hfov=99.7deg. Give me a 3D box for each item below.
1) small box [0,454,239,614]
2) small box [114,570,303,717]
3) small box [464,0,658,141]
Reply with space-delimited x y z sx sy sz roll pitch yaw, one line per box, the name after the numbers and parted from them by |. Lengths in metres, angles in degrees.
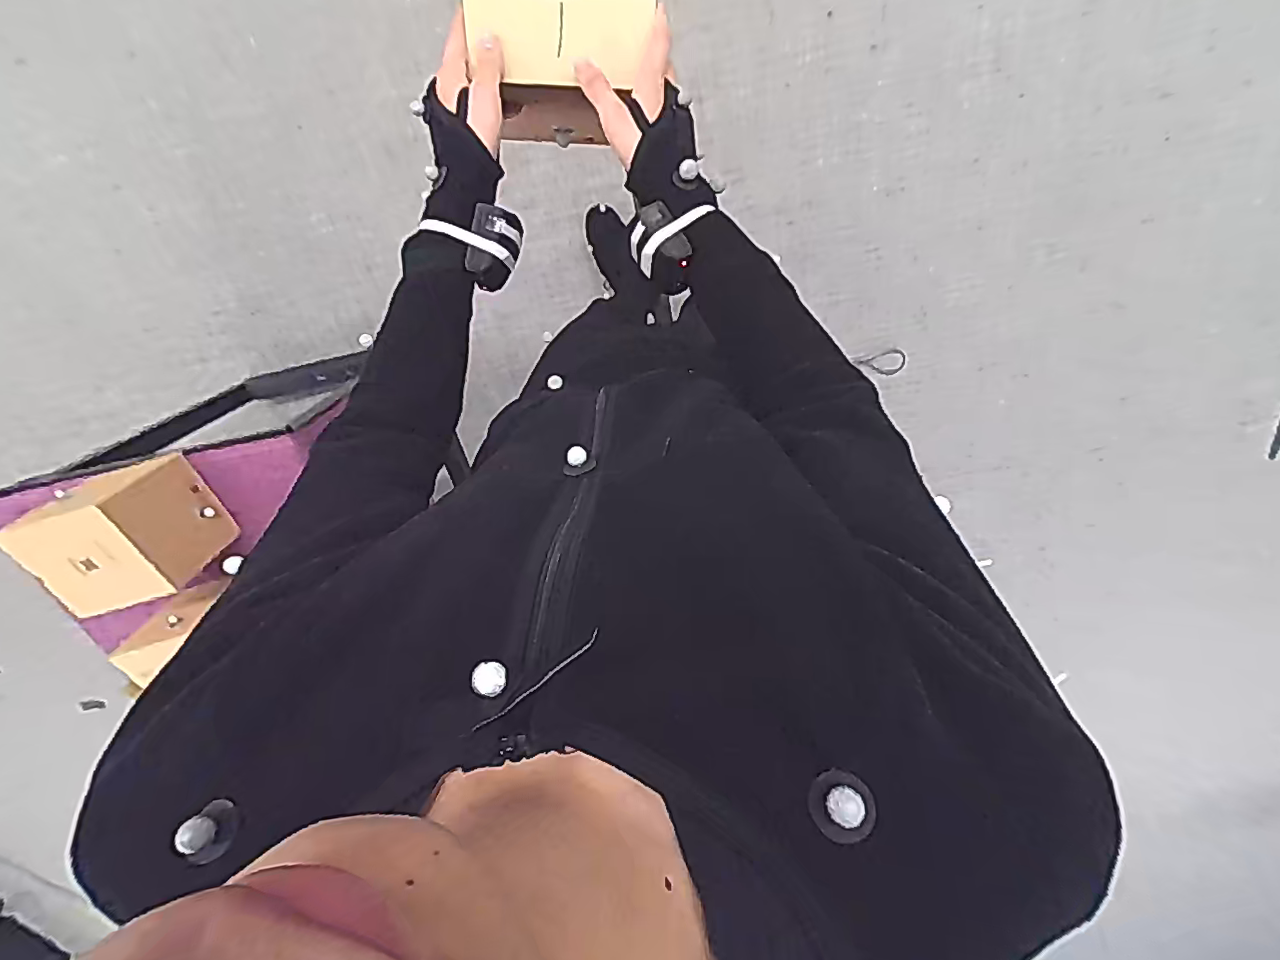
-0.801 0.080 0.856 0.179 0.176 0.168 -15 119 7 | small box
-0.747 0.285 0.968 0.179 0.176 0.168 -16 117 8 | small box
-0.071 -0.458 0.523 0.168 0.176 0.179 1 108 -5 | small box
